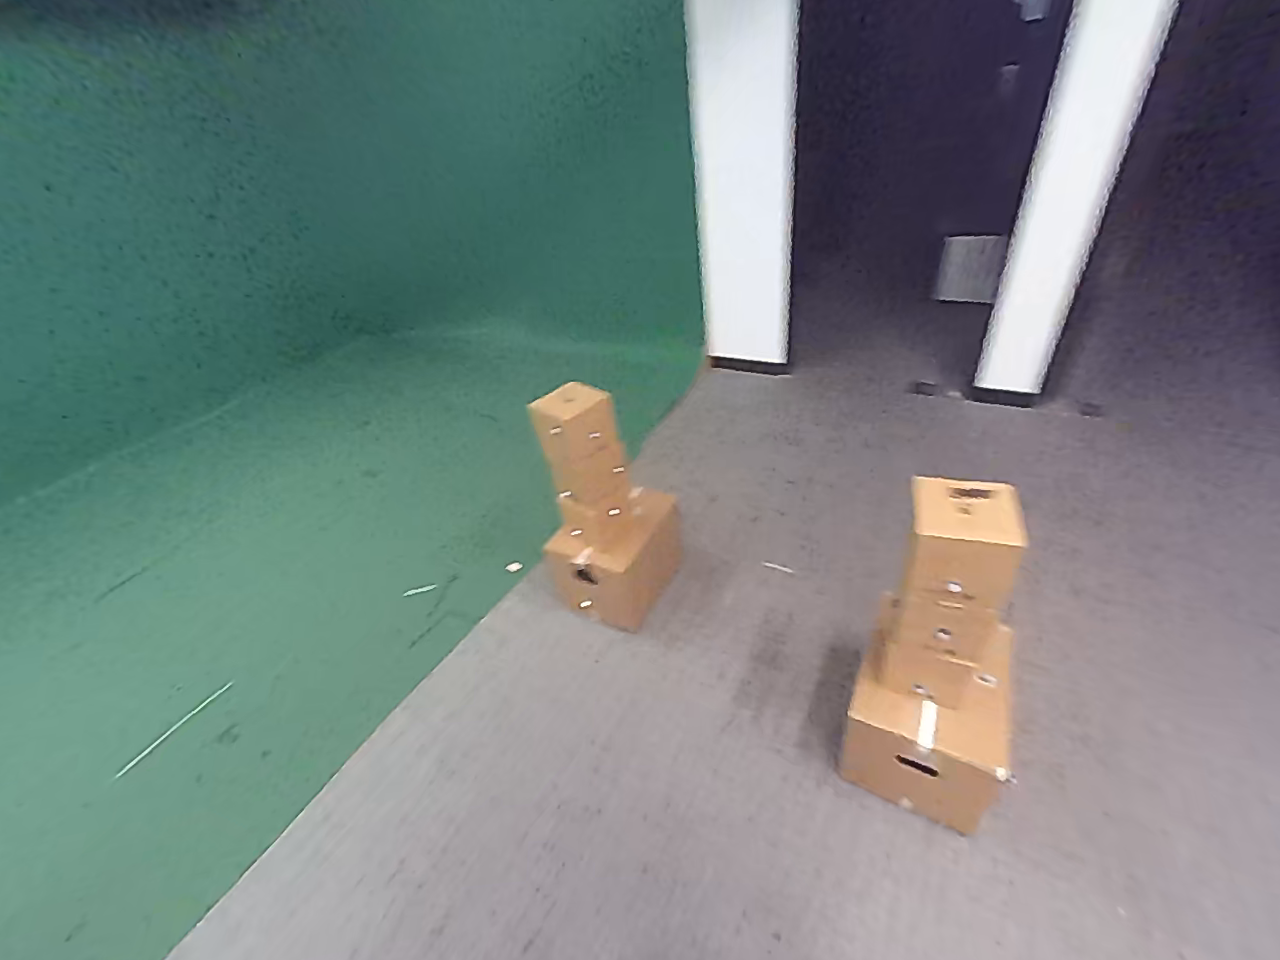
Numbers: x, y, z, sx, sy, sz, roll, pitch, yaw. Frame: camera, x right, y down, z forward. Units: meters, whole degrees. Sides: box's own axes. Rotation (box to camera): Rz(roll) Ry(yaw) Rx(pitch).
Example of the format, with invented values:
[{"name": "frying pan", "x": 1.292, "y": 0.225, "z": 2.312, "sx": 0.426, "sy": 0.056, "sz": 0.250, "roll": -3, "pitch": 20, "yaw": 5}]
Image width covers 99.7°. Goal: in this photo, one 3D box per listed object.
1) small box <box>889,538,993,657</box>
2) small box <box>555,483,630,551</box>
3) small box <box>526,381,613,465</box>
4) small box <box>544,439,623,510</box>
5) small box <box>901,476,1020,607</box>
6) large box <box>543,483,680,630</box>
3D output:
[{"name": "small box", "x": 0.631, "y": 0.247, "z": 1.147, "sx": 0.168, "sy": 0.176, "sz": 0.179, "roll": 7, "pitch": 41, "yaw": 21}, {"name": "small box", "x": -0.148, "y": 0.098, "z": 1.774, "sx": 0.168, "sy": 0.176, "sz": 0.179, "roll": 22, "pitch": 48, "yaw": 35}, {"name": "small box", "x": -0.201, "y": -0.166, "z": 1.588, "sx": 0.179, "sy": 0.176, "sz": 0.168, "roll": 26, "pitch": 49, "yaw": 38}, {"name": "small box", "x": -0.169, "y": -0.037, "z": 1.685, "sx": 0.168, "sy": 0.176, "sz": 0.179, "roll": 25, "pitch": 50, "yaw": 38}, {"name": "small box", "x": 0.607, "y": 0.115, "z": 1.049, "sx": 0.168, "sy": 0.176, "sz": 0.179, "roll": 6, "pitch": 40, "yaw": 21}, {"name": "large box", "x": -0.086, "y": 0.260, "z": 1.951, "sx": 0.320, "sy": 0.320, "sz": 0.408, "roll": 14, "pitch": 42, "yaw": 27}]
